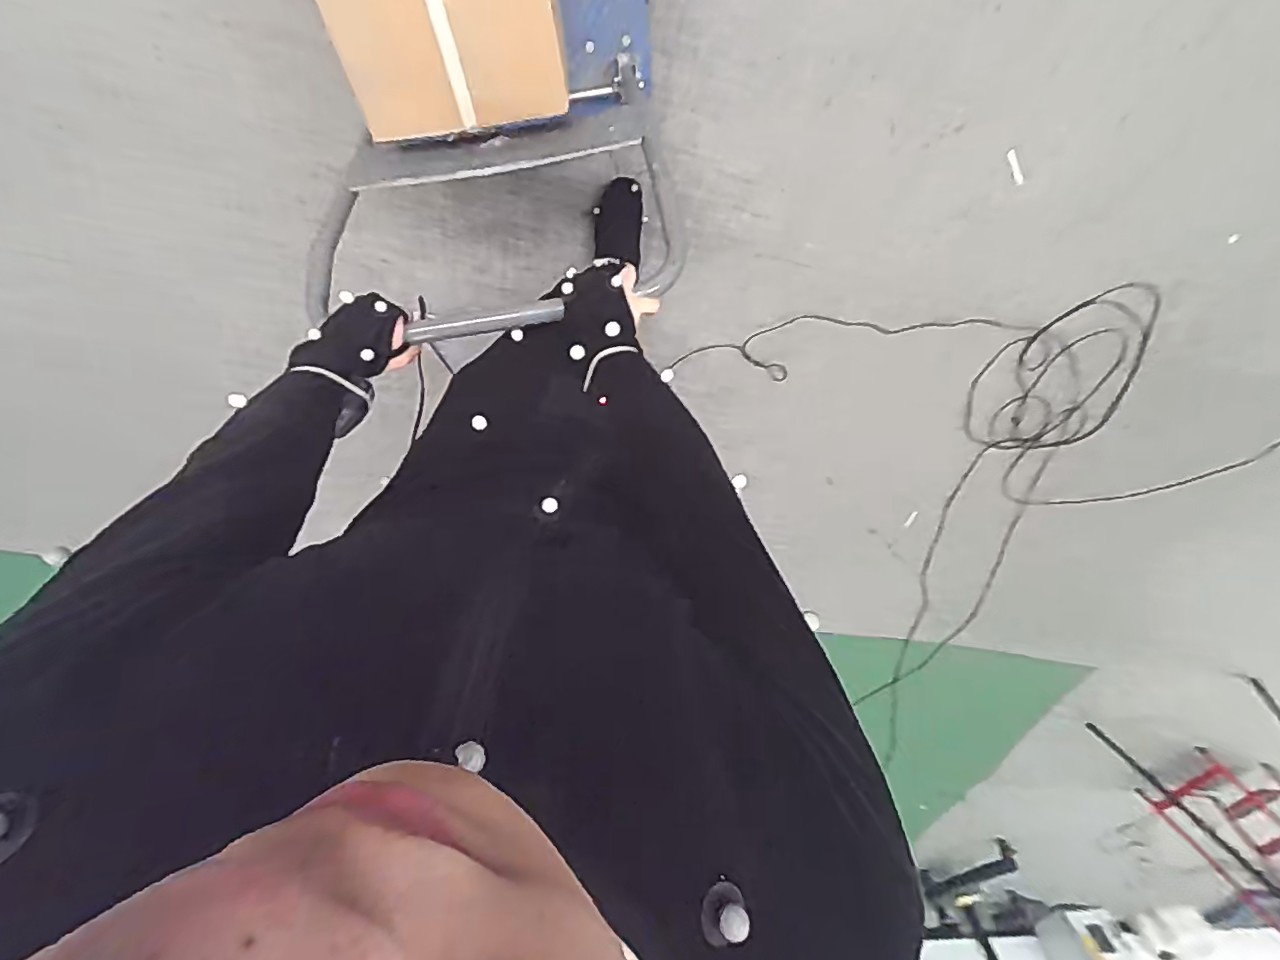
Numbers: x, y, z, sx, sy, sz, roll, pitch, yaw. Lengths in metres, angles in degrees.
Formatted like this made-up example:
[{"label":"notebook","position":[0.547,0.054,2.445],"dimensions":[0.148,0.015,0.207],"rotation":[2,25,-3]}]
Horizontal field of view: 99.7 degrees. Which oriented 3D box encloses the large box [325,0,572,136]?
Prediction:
[{"label":"large box","position":[-0.292,-0.805,0.807],"dimensions":[0.320,0.320,0.408],"rotation":[-8,138,1]}]
